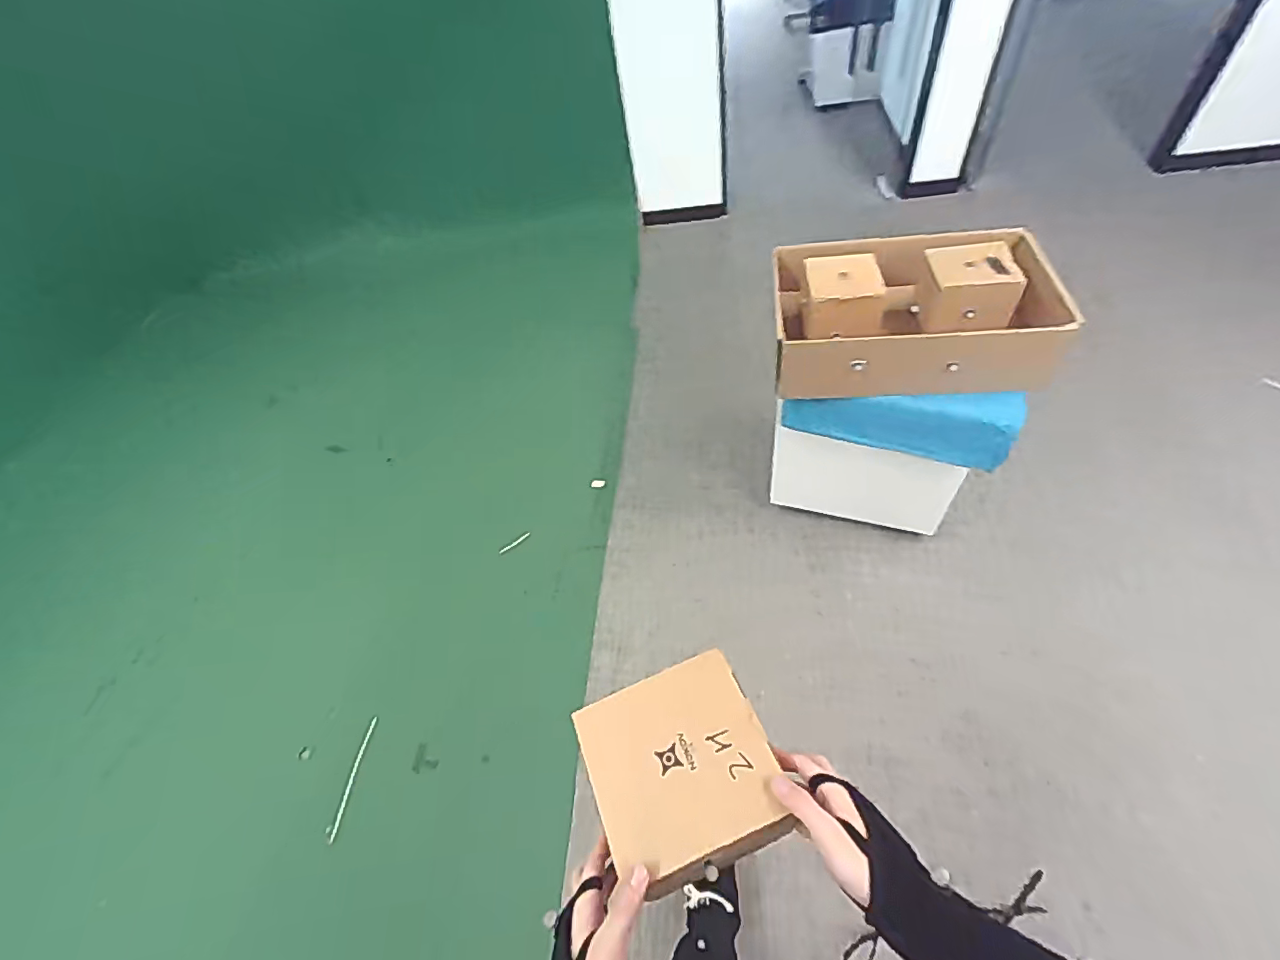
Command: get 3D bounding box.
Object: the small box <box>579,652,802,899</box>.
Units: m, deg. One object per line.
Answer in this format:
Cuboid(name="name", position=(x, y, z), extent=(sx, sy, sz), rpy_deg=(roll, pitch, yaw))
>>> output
Cuboid(name="small box", position=(0.055, 0.320, 0.581), extent=(0.179, 0.176, 0.168), rpy_deg=(-21, 50, -6))
